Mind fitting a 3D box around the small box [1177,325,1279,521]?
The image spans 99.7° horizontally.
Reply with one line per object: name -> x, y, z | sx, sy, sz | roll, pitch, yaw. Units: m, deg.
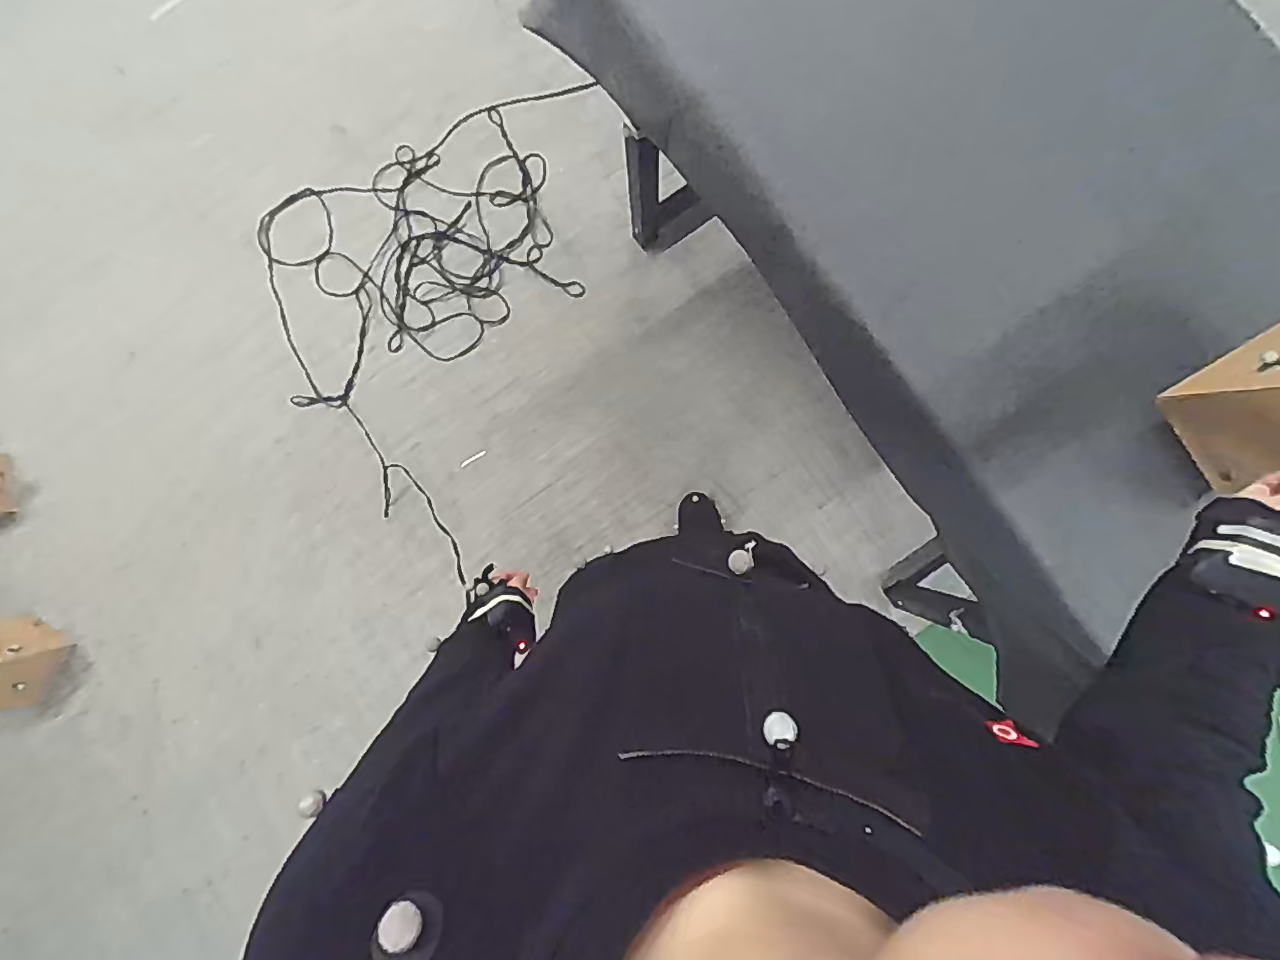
small box -> 0.678, -0.063, 0.509 | 0.179, 0.176, 0.168 | -34, 91, 7

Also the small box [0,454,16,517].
small box -> -1.743, 0.024, 1.349 | 0.179, 0.176, 0.168 | -14, 86, 0
